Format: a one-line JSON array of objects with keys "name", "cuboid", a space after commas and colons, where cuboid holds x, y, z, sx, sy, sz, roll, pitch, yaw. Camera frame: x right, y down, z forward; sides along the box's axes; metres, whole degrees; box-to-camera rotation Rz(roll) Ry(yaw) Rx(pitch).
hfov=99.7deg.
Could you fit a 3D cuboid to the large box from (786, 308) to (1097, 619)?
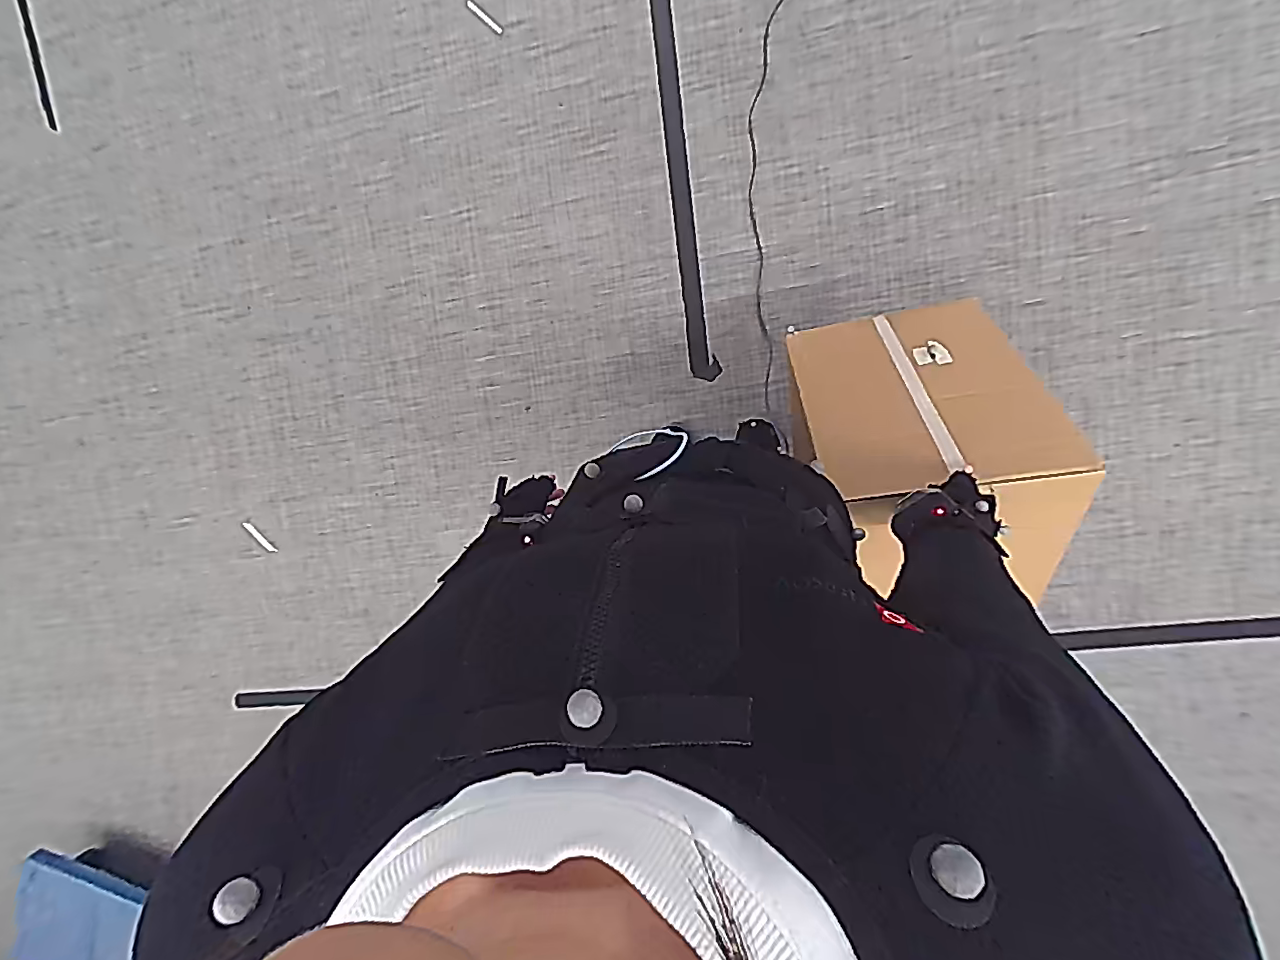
[{"name": "large box", "cuboid": [0.443, -0.029, 0.912, 0.320, 0.408, 0.320, -8, 134, 10]}]
